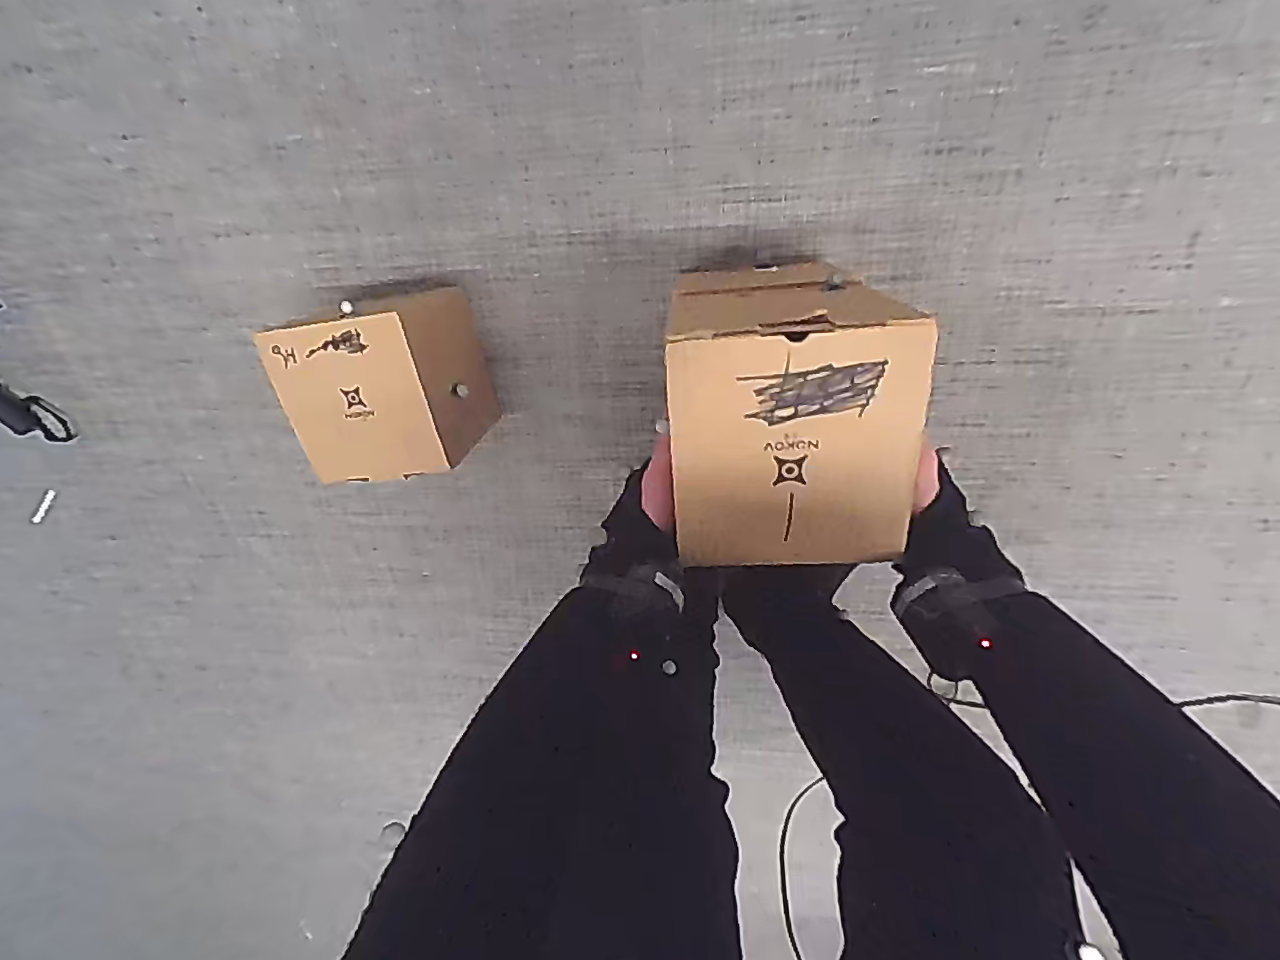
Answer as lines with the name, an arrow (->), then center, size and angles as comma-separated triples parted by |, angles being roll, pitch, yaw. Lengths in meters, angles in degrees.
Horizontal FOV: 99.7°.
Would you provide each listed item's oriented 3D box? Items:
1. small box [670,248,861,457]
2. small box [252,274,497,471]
small box -> 0.123, -0.139, 0.574 | 0.168, 0.176, 0.179 | -3, 117, 8
small box -> -0.287, -0.129, 0.635 | 0.168, 0.176, 0.179 | -4, 119, 10
